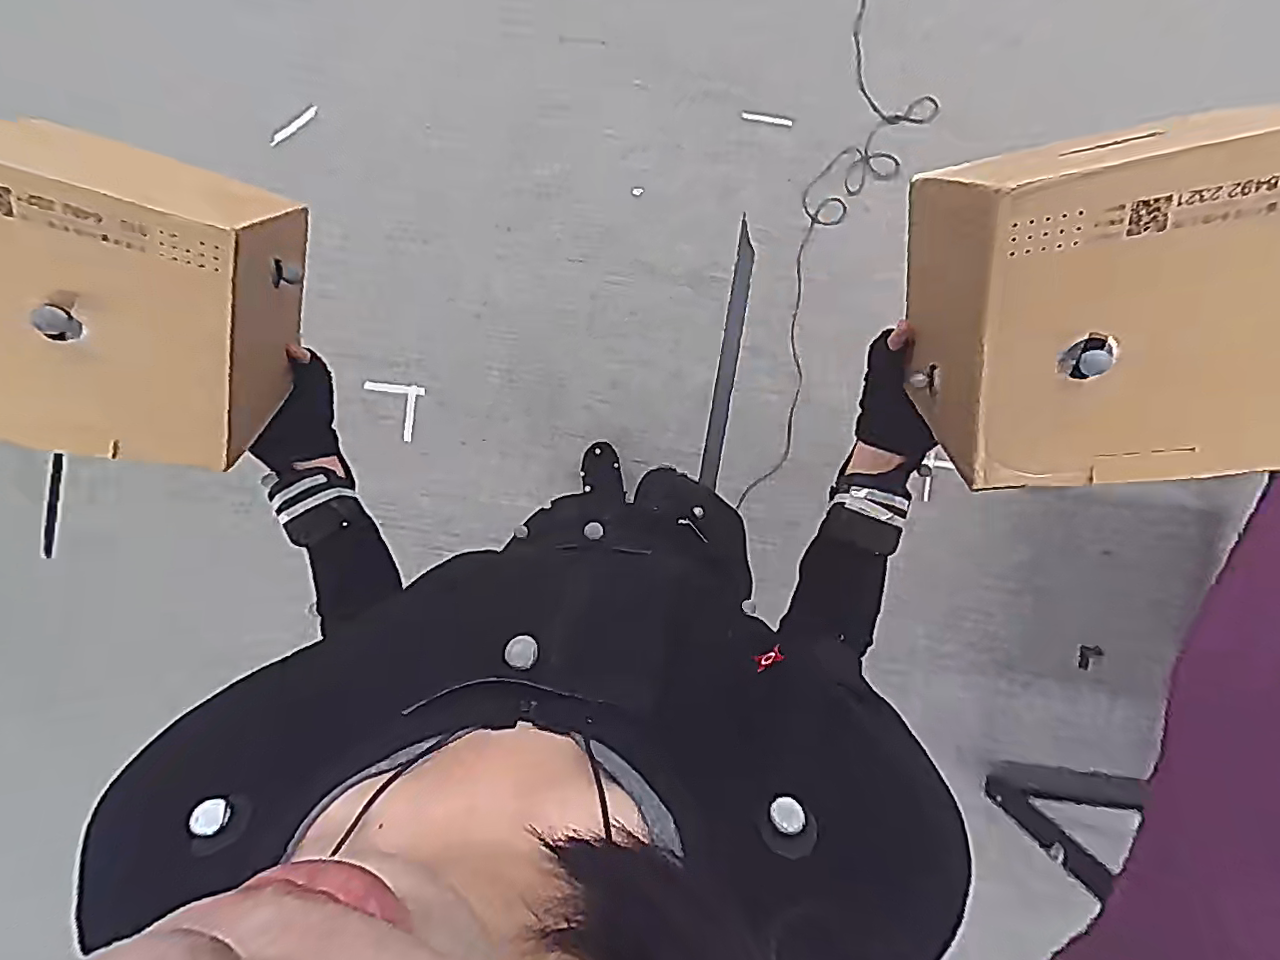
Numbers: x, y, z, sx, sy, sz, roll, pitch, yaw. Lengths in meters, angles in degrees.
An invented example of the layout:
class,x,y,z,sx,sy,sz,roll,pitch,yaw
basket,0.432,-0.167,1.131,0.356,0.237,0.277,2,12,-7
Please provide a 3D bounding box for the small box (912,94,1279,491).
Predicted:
class,x,y,z,sx,sy,sz,roll,pitch,yaw
small box,0.272,-0.113,0.320,0.168,0.179,0.176,-4,119,15

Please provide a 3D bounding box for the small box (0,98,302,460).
class,x,y,z,sx,sy,sz,roll,pitch,yaw
small box,-0.349,-0.137,0.366,0.168,0.179,0.176,12,115,-23
